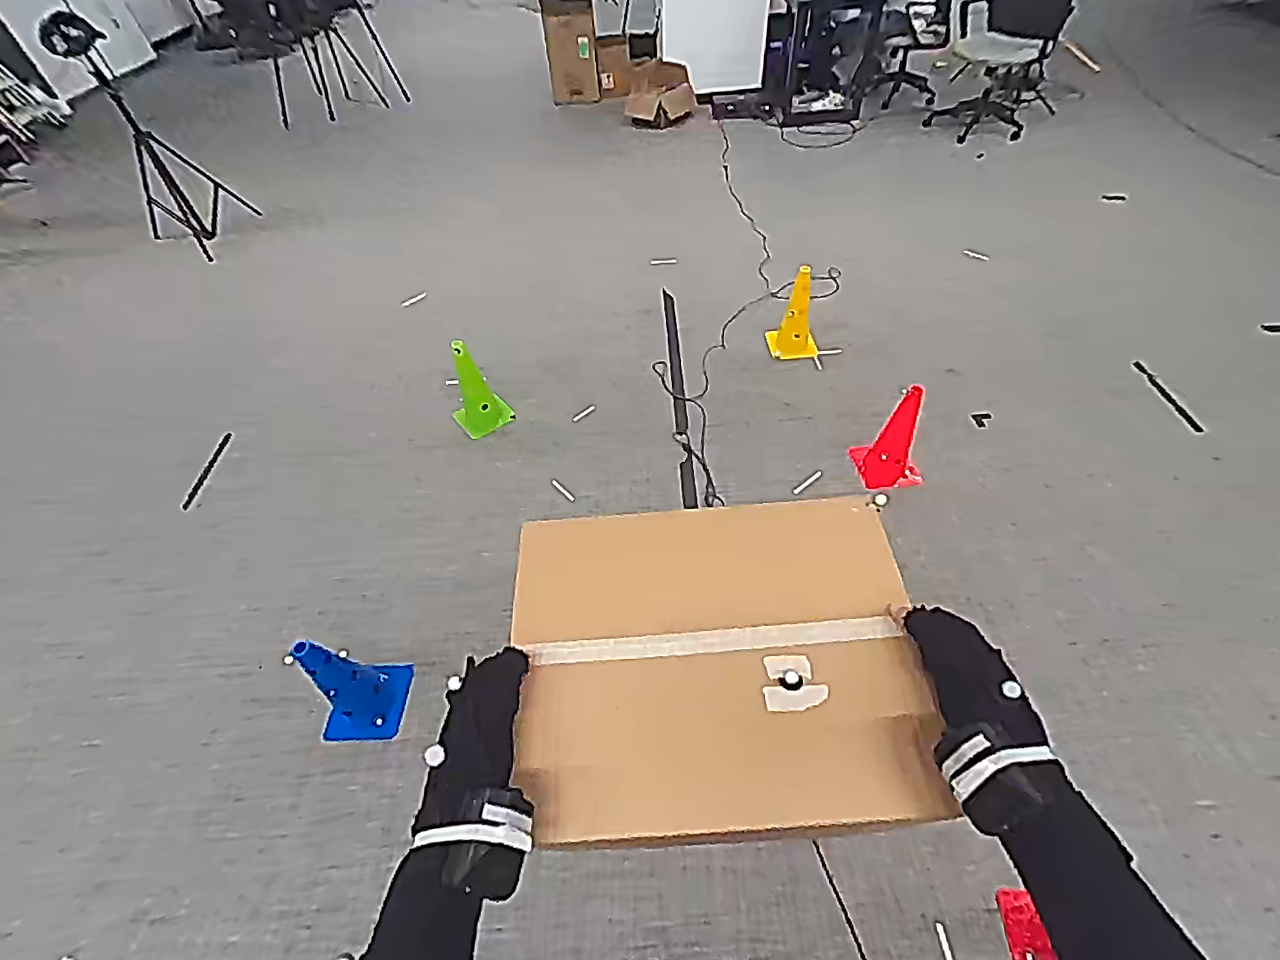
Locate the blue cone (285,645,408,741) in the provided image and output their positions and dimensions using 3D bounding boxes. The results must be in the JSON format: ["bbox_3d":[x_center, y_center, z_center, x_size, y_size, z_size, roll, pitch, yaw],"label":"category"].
[{"bbox_3d":[-0.756,0.505,1.356,0.192,0.380,0.193,-2,50,4],"label":"blue cone"}]

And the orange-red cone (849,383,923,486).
[{"bbox_3d":[0.848,-0.170,1.775,0.198,0.360,0.199,-5,48,-1],"label":"orange-red cone"}]

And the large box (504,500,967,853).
[{"bbox_3d":[0.078,0.250,0.661,0.408,0.320,0.320,-4,55,1],"label":"large box"}]

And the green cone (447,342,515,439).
[{"bbox_3d":[-0.649,-0.372,2.064,0.202,0.368,0.200,-35,55,-21],"label":"green cone"}]

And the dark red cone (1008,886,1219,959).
[{"bbox_3d":[0.828,0.809,0.919,0.201,0.394,0.202,0,50,6],"label":"dark red cone"}]
